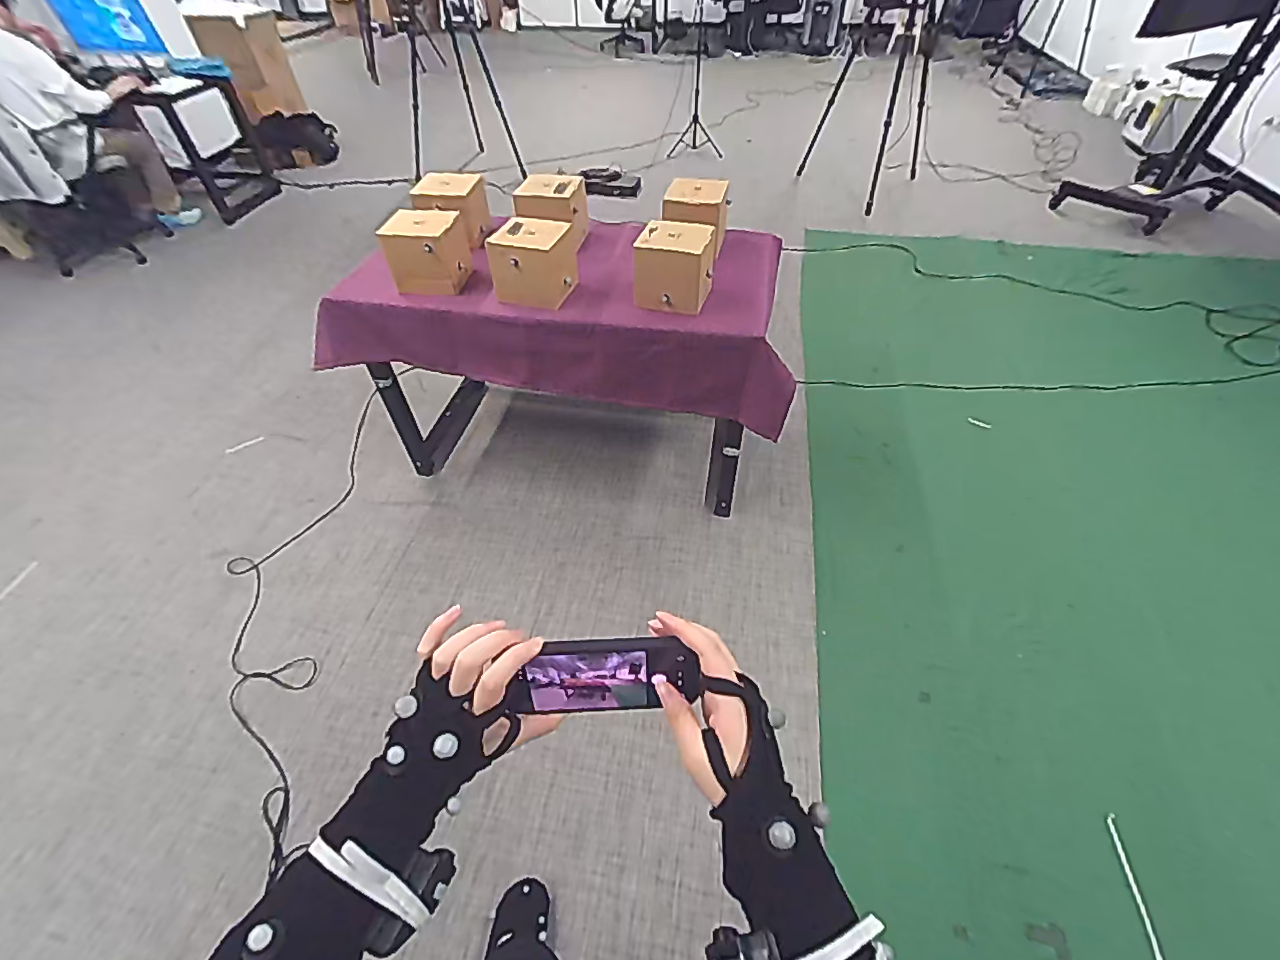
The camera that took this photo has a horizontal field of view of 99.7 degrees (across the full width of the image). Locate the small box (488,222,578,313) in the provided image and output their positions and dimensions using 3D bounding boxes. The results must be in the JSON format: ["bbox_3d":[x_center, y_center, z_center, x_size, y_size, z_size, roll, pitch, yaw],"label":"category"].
[{"bbox_3d":[-0.278,-0.566,1.446,0.179,0.176,0.168,13,49,11],"label":"small box"}]

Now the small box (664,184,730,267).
[{"bbox_3d":[0.167,-0.765,1.624,0.168,0.176,0.179,10,49,11],"label":"small box"}]

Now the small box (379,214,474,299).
[{"bbox_3d":[-0.583,-0.618,1.498,0.179,0.176,0.168,4,47,3],"label":"small box"}]

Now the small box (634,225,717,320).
[{"bbox_3d":[0.091,-0.541,1.418,0.179,0.176,0.168,13,48,12],"label":"small box"}]
